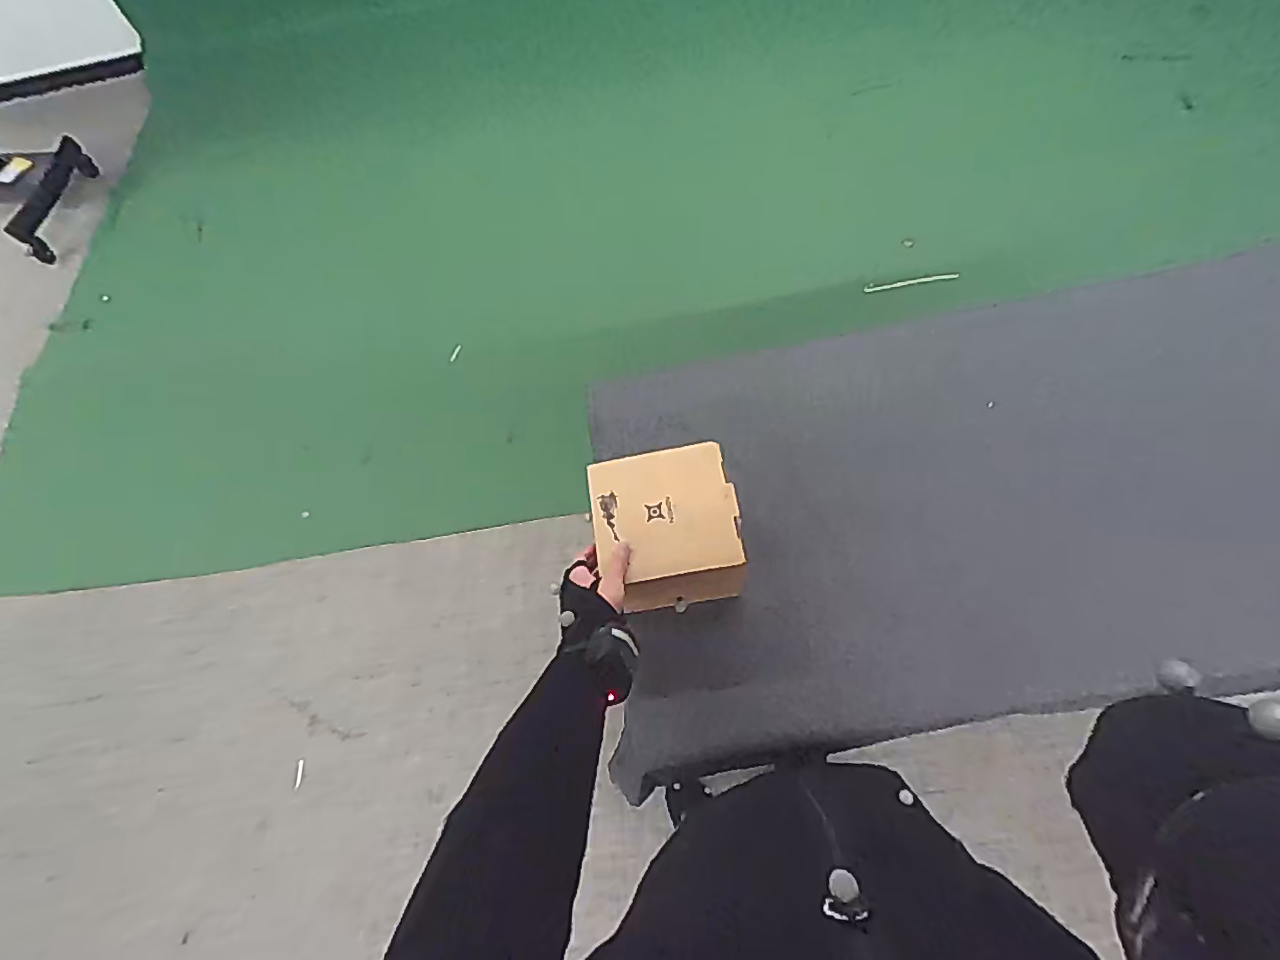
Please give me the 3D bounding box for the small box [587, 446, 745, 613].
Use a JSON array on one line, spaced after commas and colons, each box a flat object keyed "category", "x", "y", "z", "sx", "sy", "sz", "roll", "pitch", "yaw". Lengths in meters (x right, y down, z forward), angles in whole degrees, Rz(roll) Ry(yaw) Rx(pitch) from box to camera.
[{"category": "small box", "x": 0.034, "y": 0.075, "z": 0.732, "sx": 0.179, "sy": 0.176, "sz": 0.168, "roll": -10, "pitch": 65, "yaw": 3}]
